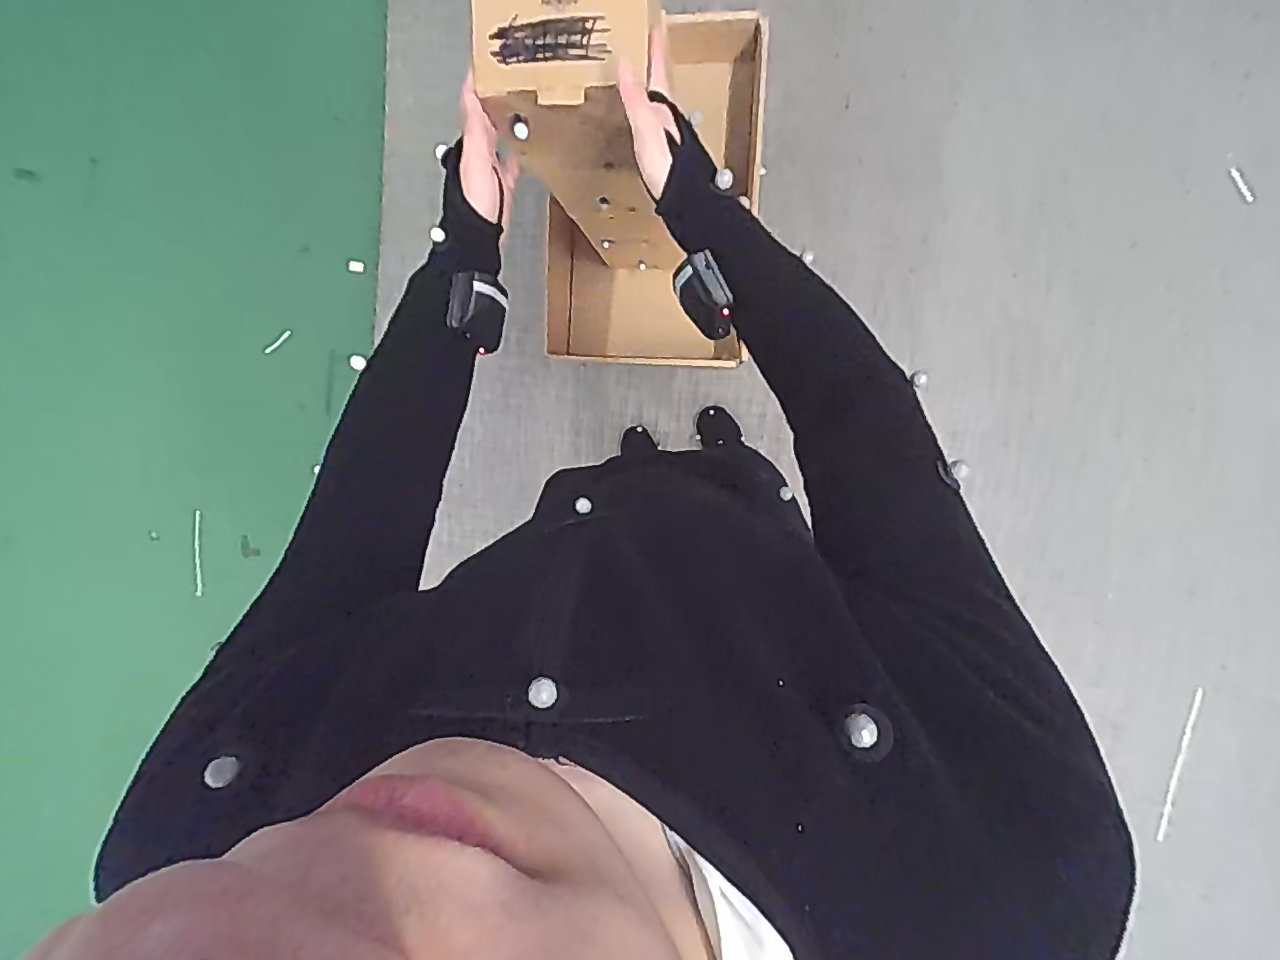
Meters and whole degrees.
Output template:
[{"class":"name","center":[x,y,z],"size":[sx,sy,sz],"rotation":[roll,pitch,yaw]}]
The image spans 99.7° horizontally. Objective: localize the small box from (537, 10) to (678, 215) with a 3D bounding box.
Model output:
[{"class":"small box","center":[-0.036,-0.485,0.740],"size":[0.168,0.176,0.179],"rotation":[1,98,8]}]

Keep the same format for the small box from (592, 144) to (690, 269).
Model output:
[{"class":"small box","center":[0.008,-0.529,1.060],"size":[0.168,0.176,0.179],"rotation":[4,97,8]}]

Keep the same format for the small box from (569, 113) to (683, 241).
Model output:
[{"class":"small box","center":[-0.017,-0.509,0.899],"size":[0.168,0.176,0.179],"rotation":[2,96,8]}]
